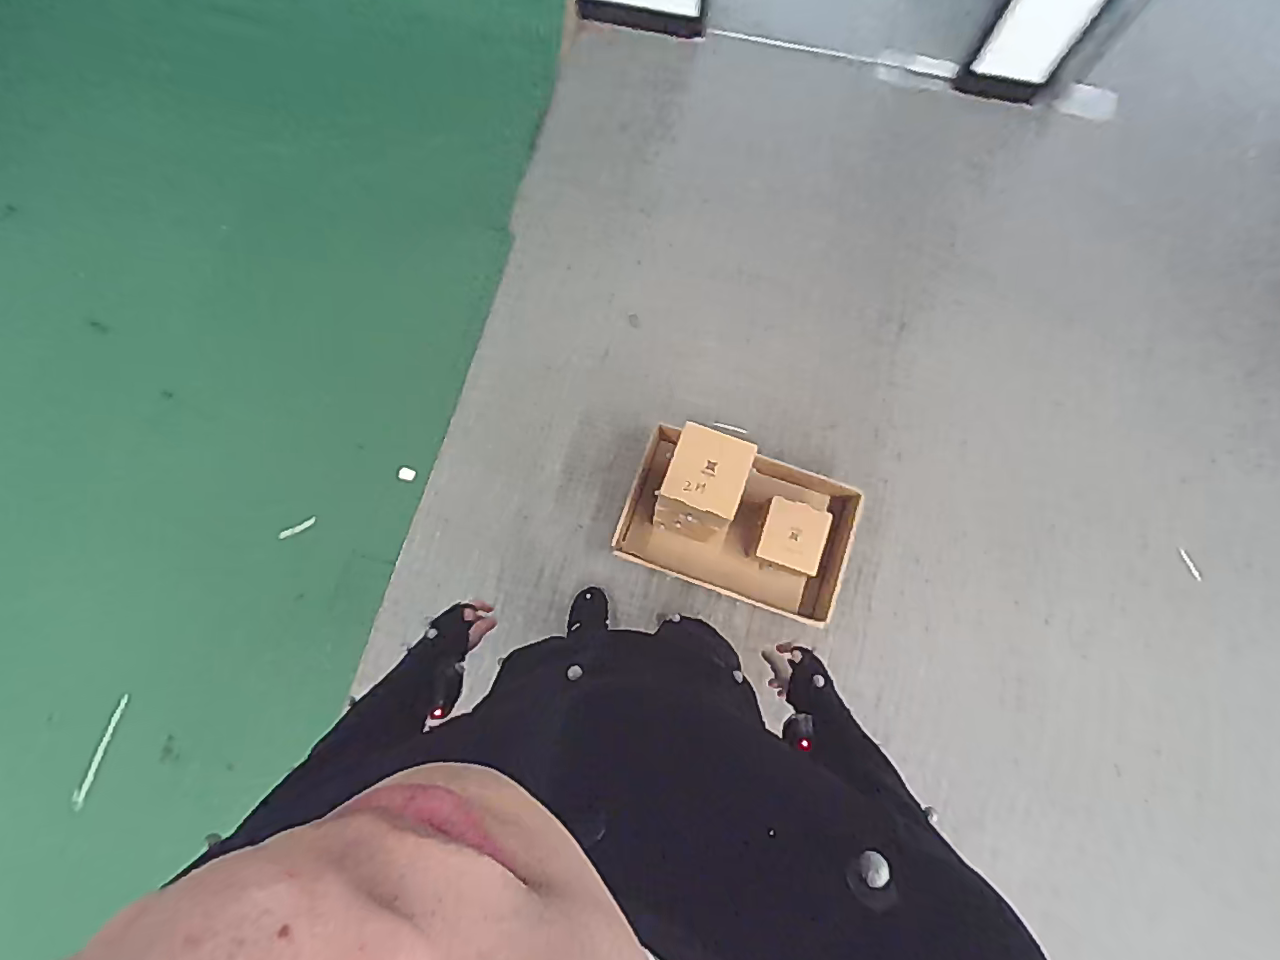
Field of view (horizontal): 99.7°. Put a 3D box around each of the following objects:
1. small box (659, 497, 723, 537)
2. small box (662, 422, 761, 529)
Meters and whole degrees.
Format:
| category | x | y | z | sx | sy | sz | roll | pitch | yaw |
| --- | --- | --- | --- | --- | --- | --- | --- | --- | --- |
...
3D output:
| category | x | y | z | sx | sy | sz | roll | pitch | yaw |
| --- | --- | --- | --- | --- | --- | --- | --- | --- | --- |
| small box | 0.150 | 0.034 | 1.379 | 0.168 | 0.176 | 0.179 | 20 | 80 | 5 |
| small box | 0.152 | -0.003 | 1.219 | 0.168 | 0.176 | 0.179 | 21 | 79 | 5 |
